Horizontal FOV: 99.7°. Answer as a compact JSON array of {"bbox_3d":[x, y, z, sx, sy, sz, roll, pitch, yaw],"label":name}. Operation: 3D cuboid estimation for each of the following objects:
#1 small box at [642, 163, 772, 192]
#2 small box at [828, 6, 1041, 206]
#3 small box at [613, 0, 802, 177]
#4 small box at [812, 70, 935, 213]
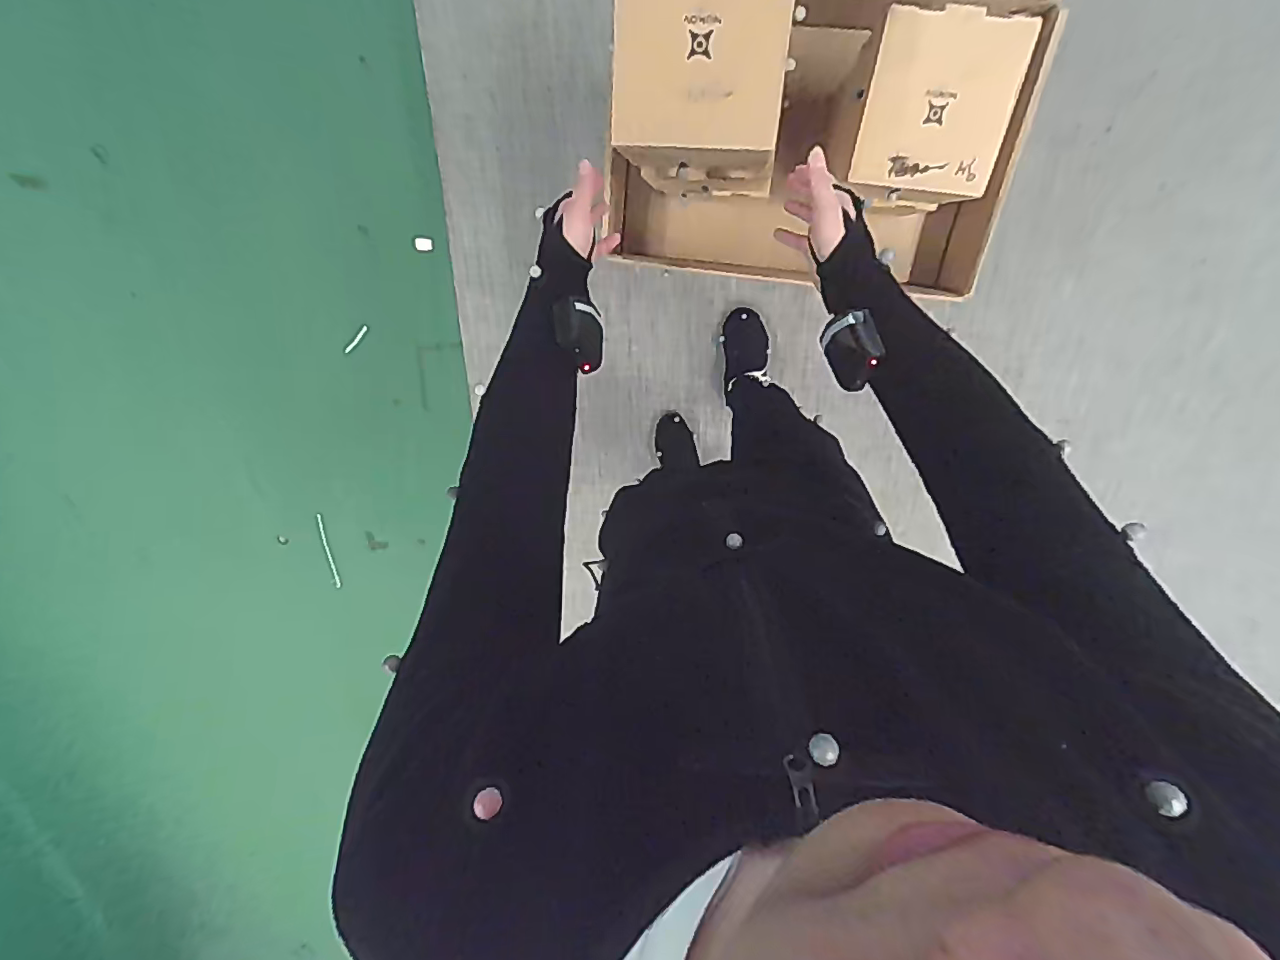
[{"bbox_3d":[0.096,-0.493,0.723,0.168,0.176,0.179,6,115,6],"label":"small box"},{"bbox_3d":[0.358,-0.465,0.700,0.168,0.176,0.179,10,116,4],"label":"small box"},{"bbox_3d":[0.070,-0.434,0.573,0.168,0.176,0.179,7,115,6],"label":"small box"},{"bbox_3d":[0.379,-0.526,0.851,0.168,0.176,0.179,8,117,5],"label":"small box"}]
